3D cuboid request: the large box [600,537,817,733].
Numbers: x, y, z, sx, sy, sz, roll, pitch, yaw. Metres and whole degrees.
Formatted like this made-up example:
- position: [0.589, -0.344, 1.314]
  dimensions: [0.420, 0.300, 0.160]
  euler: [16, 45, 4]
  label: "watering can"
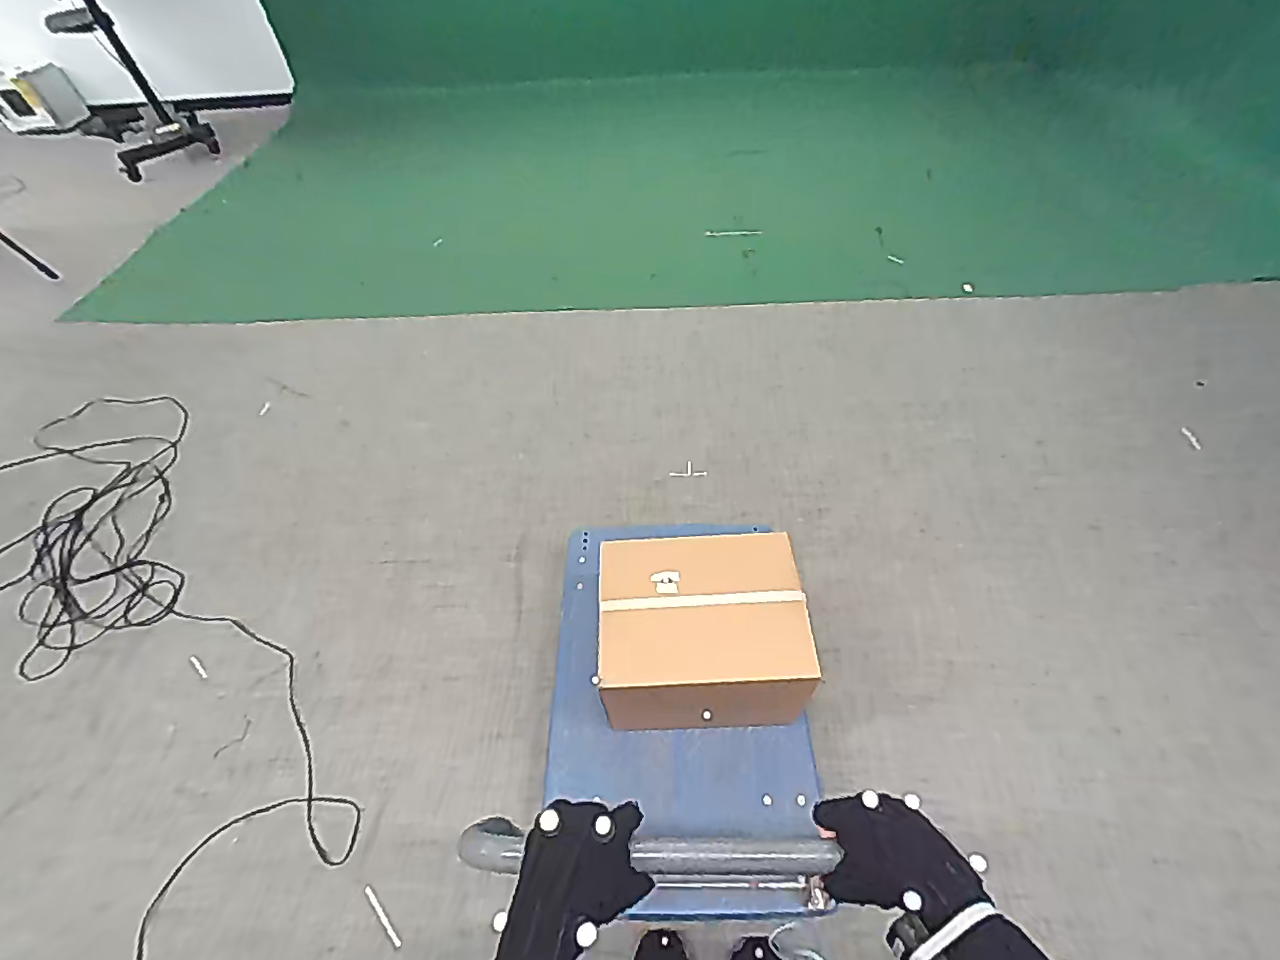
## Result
- position: [0.131, 0.350, 1.193]
  dimensions: [0.408, 0.320, 0.320]
  euler: [-4, 50, 2]
  label: "large box"
